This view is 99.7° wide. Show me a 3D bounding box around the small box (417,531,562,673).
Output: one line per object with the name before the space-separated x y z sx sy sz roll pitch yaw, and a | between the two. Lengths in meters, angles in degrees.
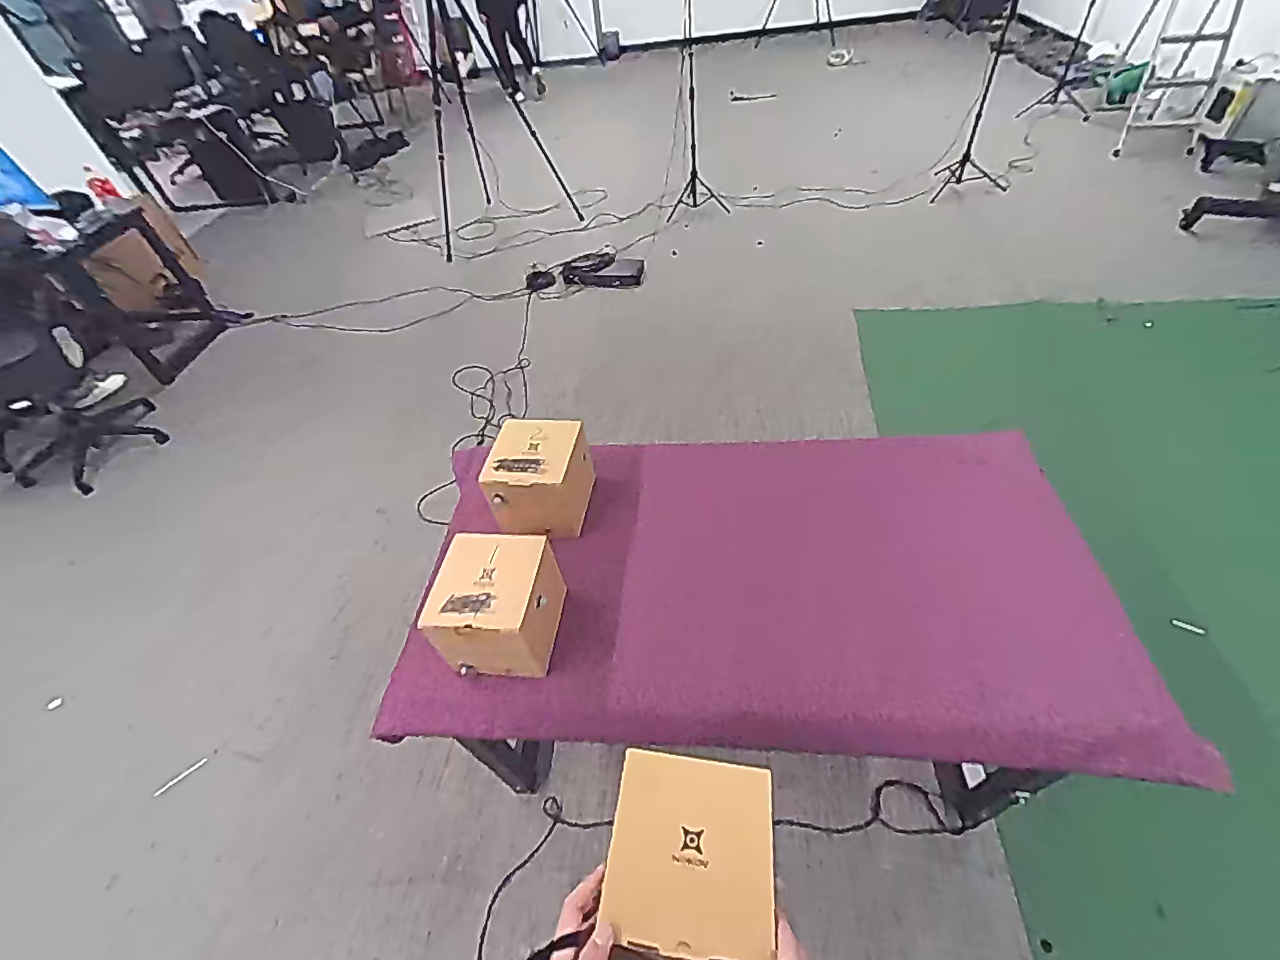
small box | -0.237 0.207 0.909 0.168 0.176 0.179 1 47 8

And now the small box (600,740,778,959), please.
small box | 0.053 0.424 0.599 0.168 0.176 0.179 7 41 6
